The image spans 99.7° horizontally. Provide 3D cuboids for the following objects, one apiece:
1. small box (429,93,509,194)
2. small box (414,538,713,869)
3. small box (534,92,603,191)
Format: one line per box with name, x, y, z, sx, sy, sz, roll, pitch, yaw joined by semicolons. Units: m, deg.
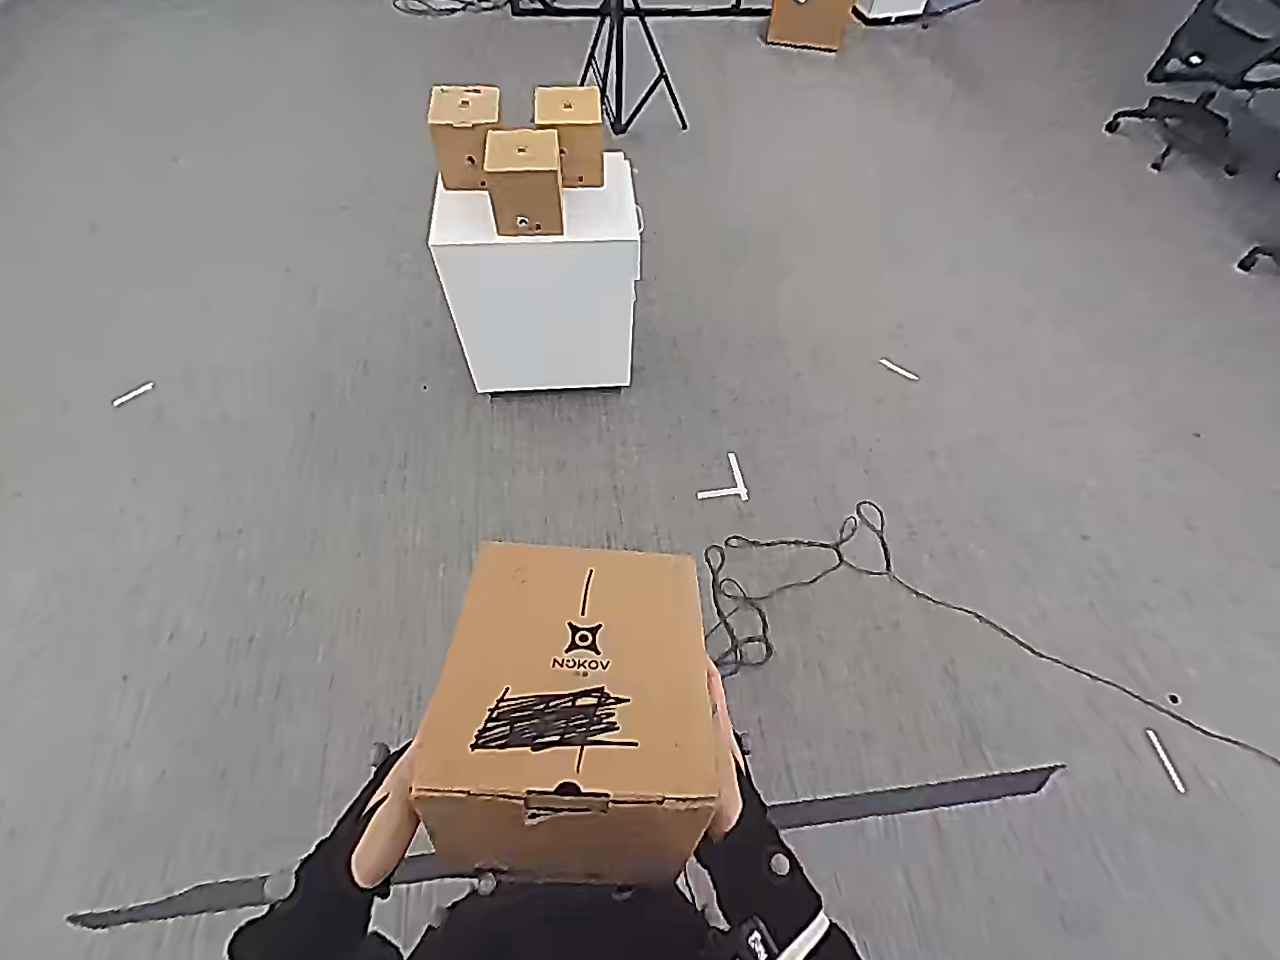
small box;-0.434;-0.866;1.400;0.168;0.176;0.179;-3;61;-6
small box;-0.046;0.167;0.404;0.168;0.176;0.179;4;40;-4
small box;-0.185;-0.886;1.426;0.168;0.176;0.179;-4;60;-5
